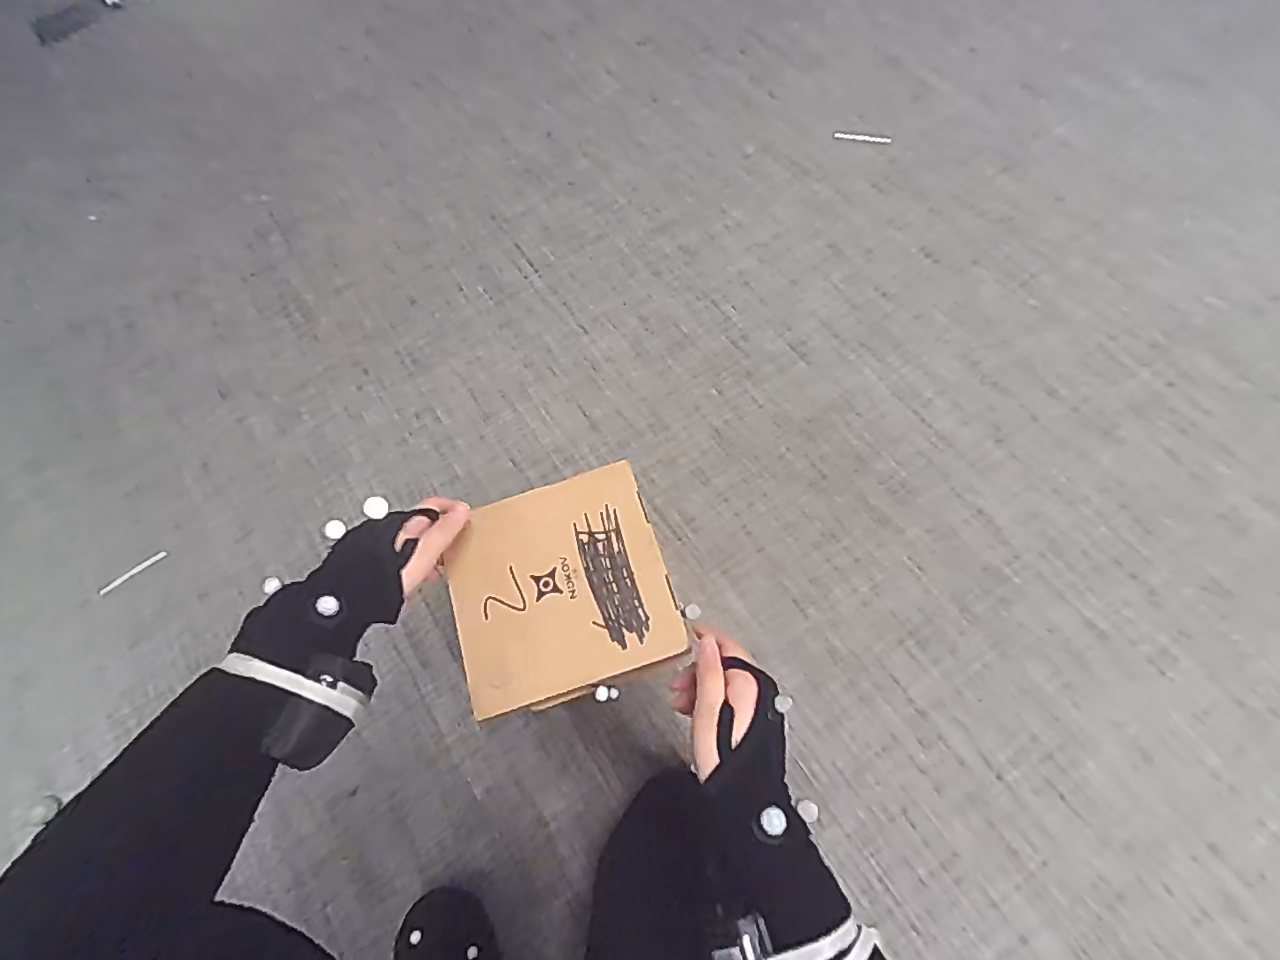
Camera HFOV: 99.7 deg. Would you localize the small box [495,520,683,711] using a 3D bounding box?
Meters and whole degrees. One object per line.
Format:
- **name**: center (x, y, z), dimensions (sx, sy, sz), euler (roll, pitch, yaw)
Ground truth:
- **small box**: center (-0.053, 0.171, 0.665), dimensions (0.179, 0.176, 0.168), euler (-19, 70, -2)
